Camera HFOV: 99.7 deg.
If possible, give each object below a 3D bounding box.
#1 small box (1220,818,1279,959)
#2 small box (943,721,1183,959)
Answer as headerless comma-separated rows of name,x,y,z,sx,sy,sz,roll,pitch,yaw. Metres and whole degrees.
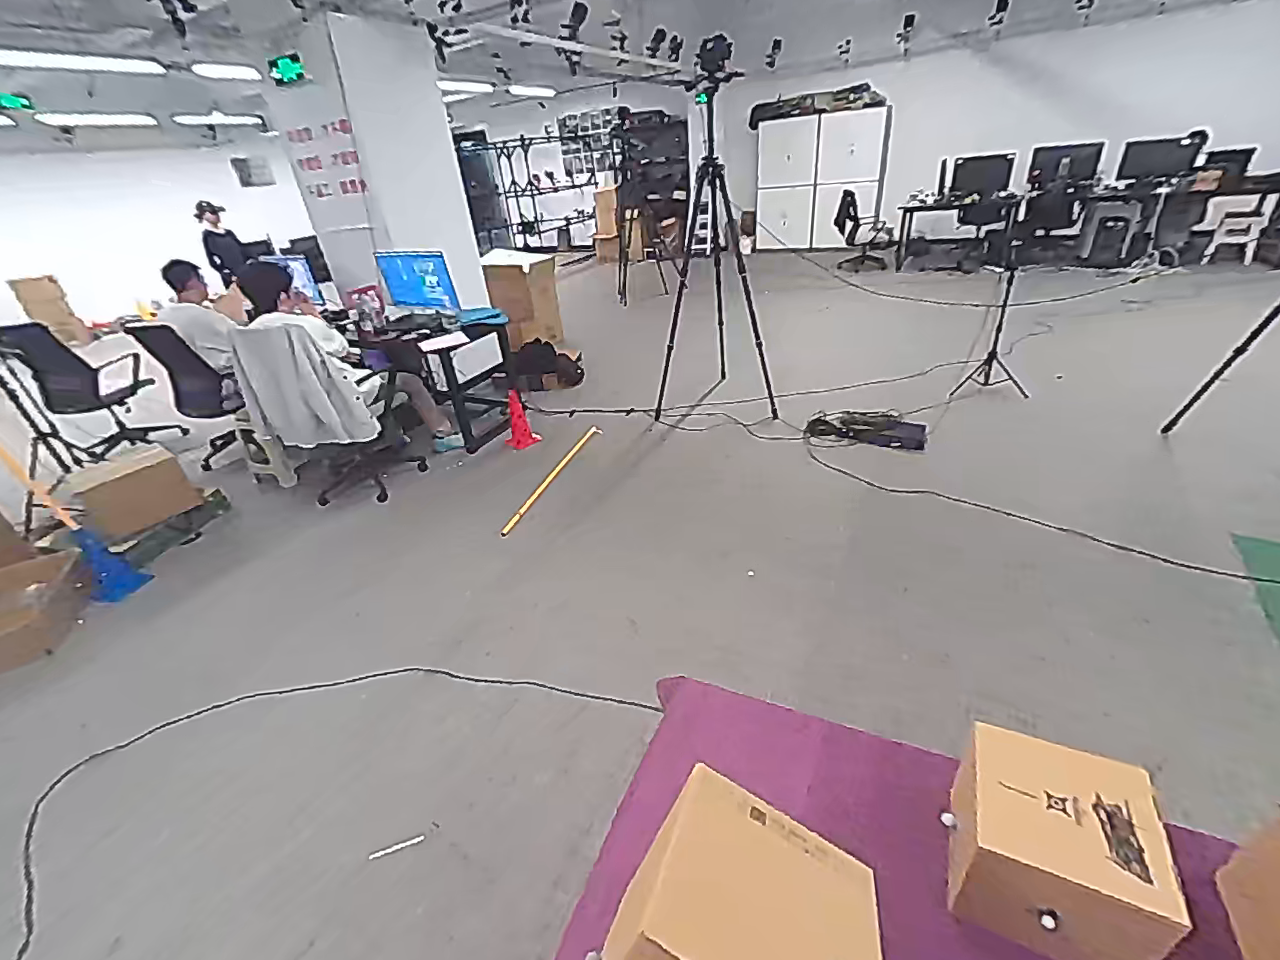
small box,0.731,0.470,0.525,0.168,0.176,0.179,9,35,25
small box,0.476,0.431,0.640,0.179,0.176,0.168,9,34,27
